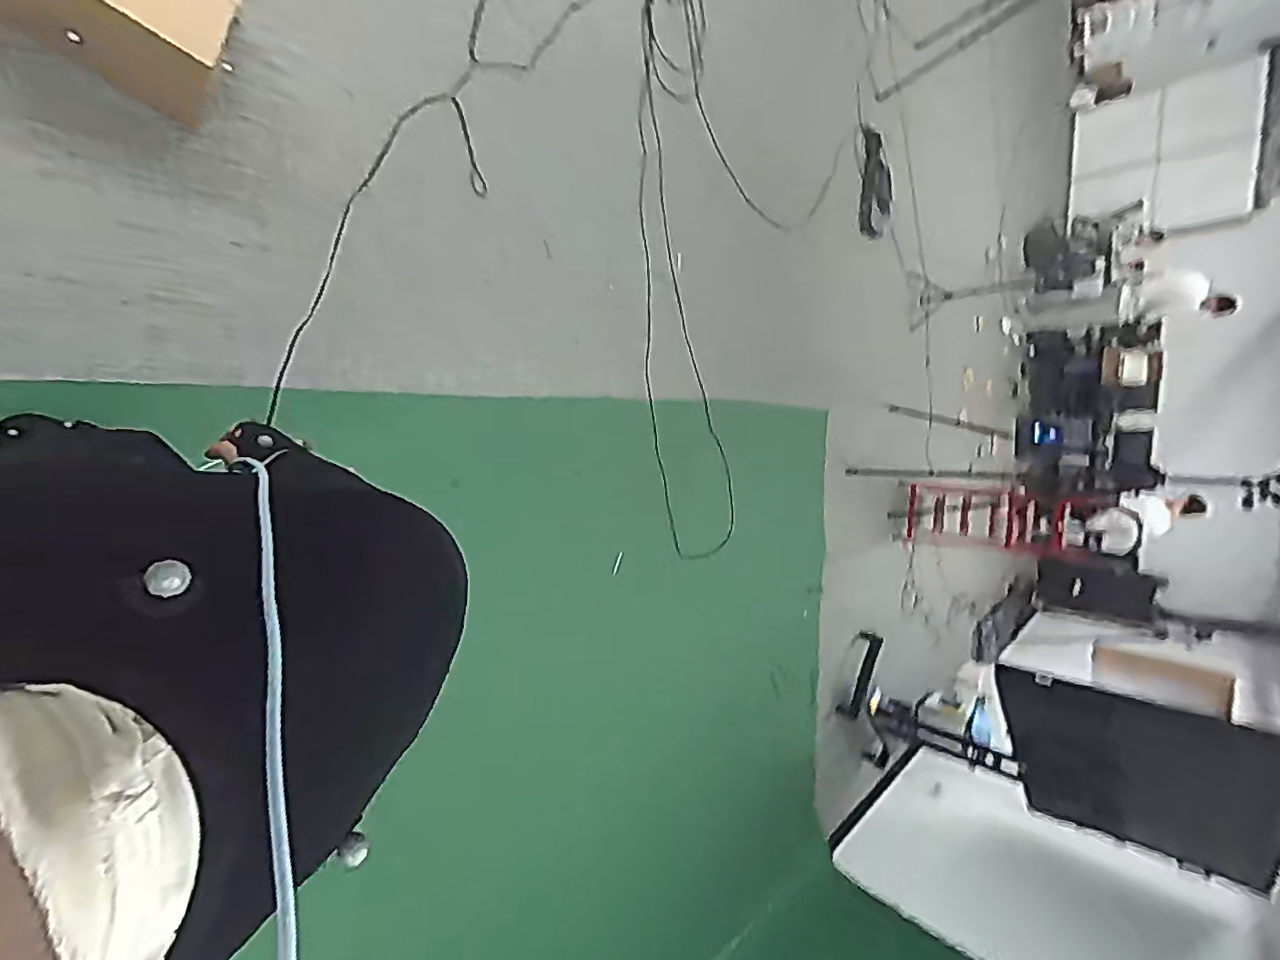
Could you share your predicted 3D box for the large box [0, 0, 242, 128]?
[{"bbox_3d":[-1.037,-0.996,1.041,0.408,0.320,0.320,19,81,-42],"label":"large box"}]
